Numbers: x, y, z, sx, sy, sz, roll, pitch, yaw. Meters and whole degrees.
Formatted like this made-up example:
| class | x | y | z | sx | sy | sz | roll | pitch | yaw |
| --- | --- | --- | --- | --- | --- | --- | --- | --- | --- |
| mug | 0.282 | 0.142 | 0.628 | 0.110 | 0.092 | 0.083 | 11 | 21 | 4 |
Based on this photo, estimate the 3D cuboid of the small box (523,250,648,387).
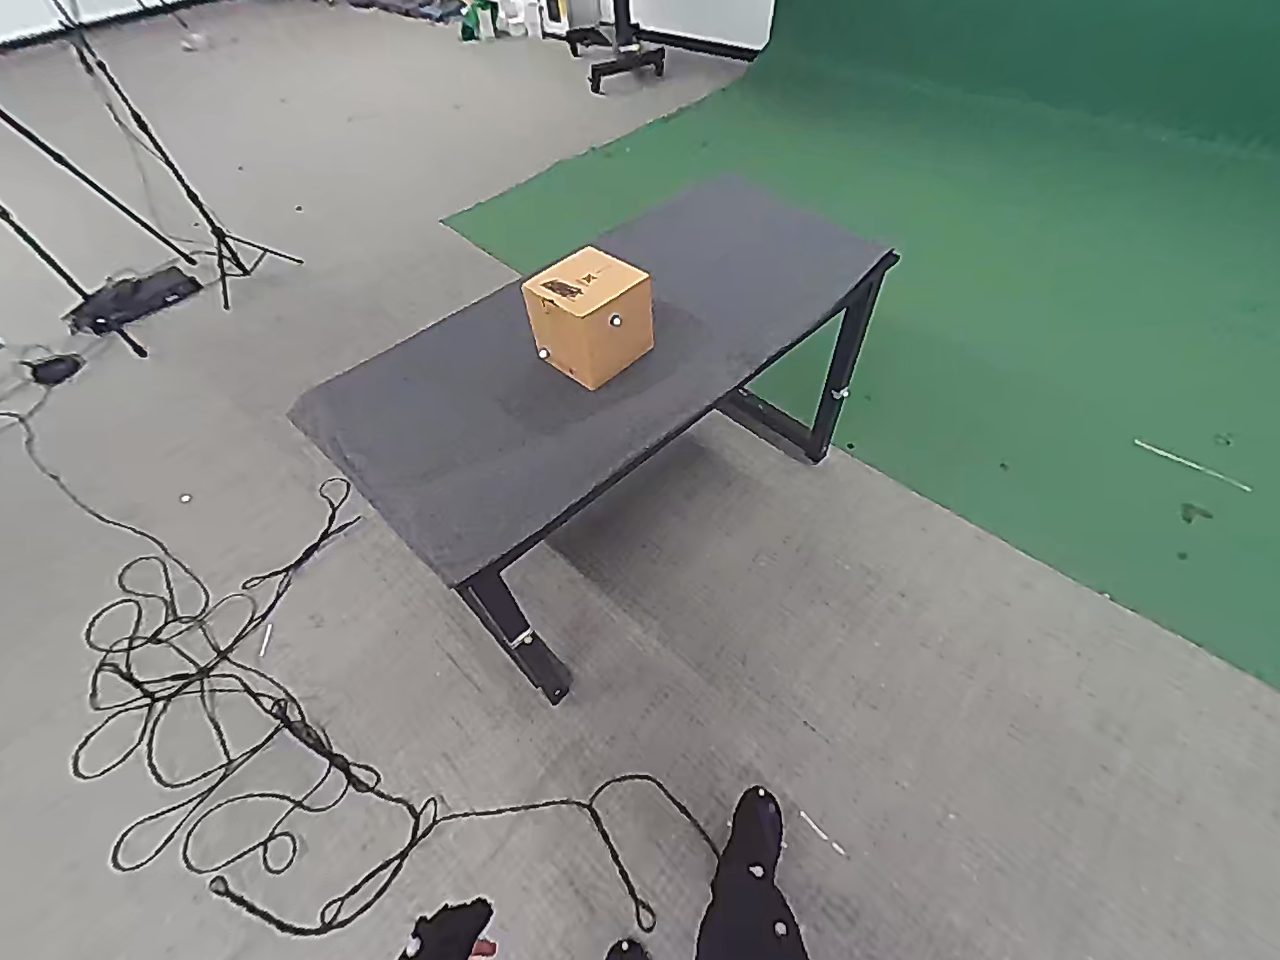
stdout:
| class | x | y | z | sx | sy | sz | roll | pitch | yaw |
| --- | --- | --- | --- | --- | --- | --- | --- | --- | --- |
| small box | -0.095 | -0.311 | 1.053 | 0.168 | 0.176 | 0.179 | 36 | 62 | 27 |
